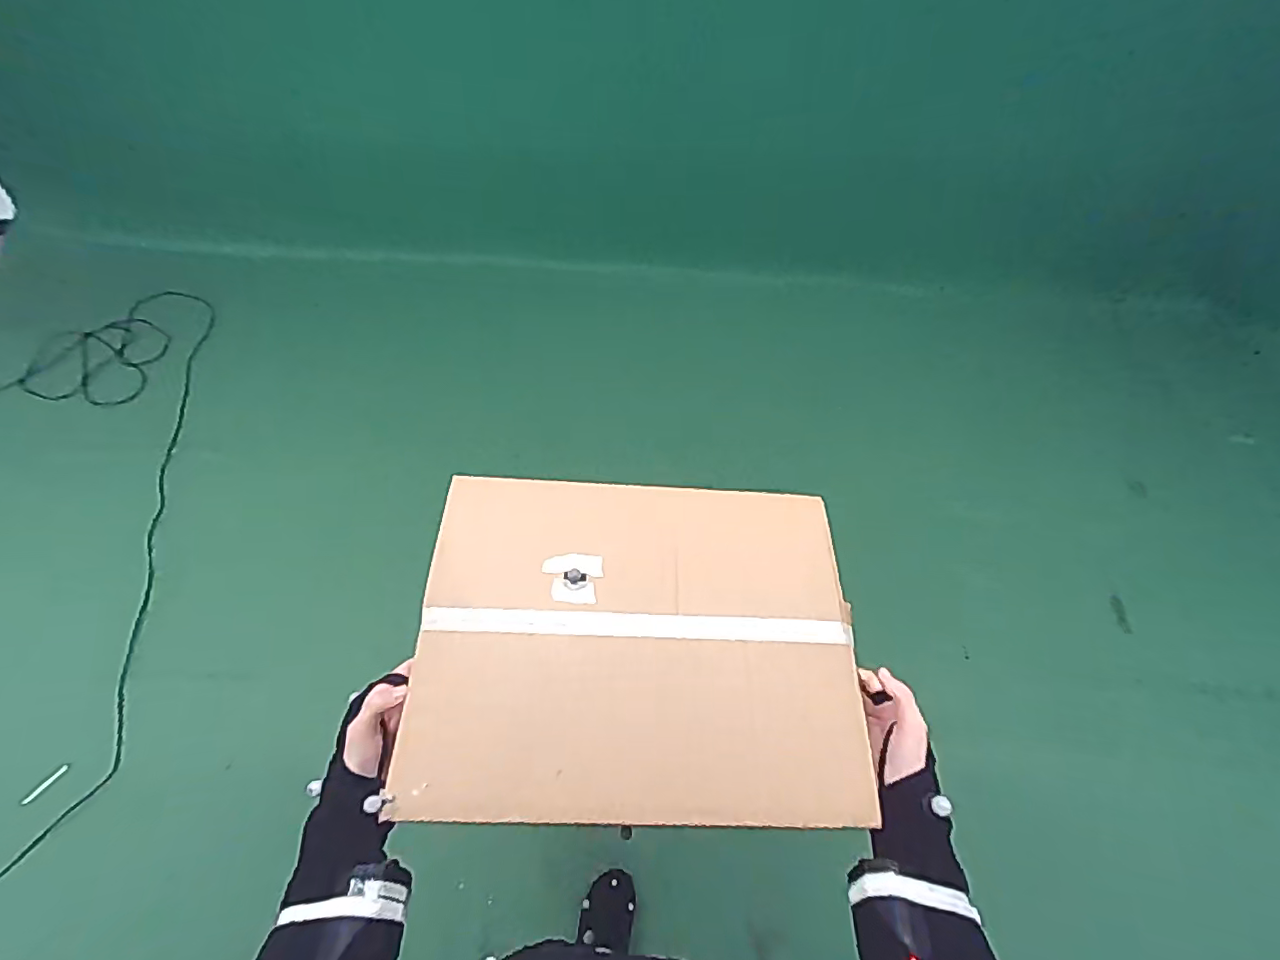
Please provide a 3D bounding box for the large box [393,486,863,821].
[{"bbox_3d":[-0.013,0.219,0.653,0.408,0.320,0.320,3,59,-3],"label":"large box"}]
